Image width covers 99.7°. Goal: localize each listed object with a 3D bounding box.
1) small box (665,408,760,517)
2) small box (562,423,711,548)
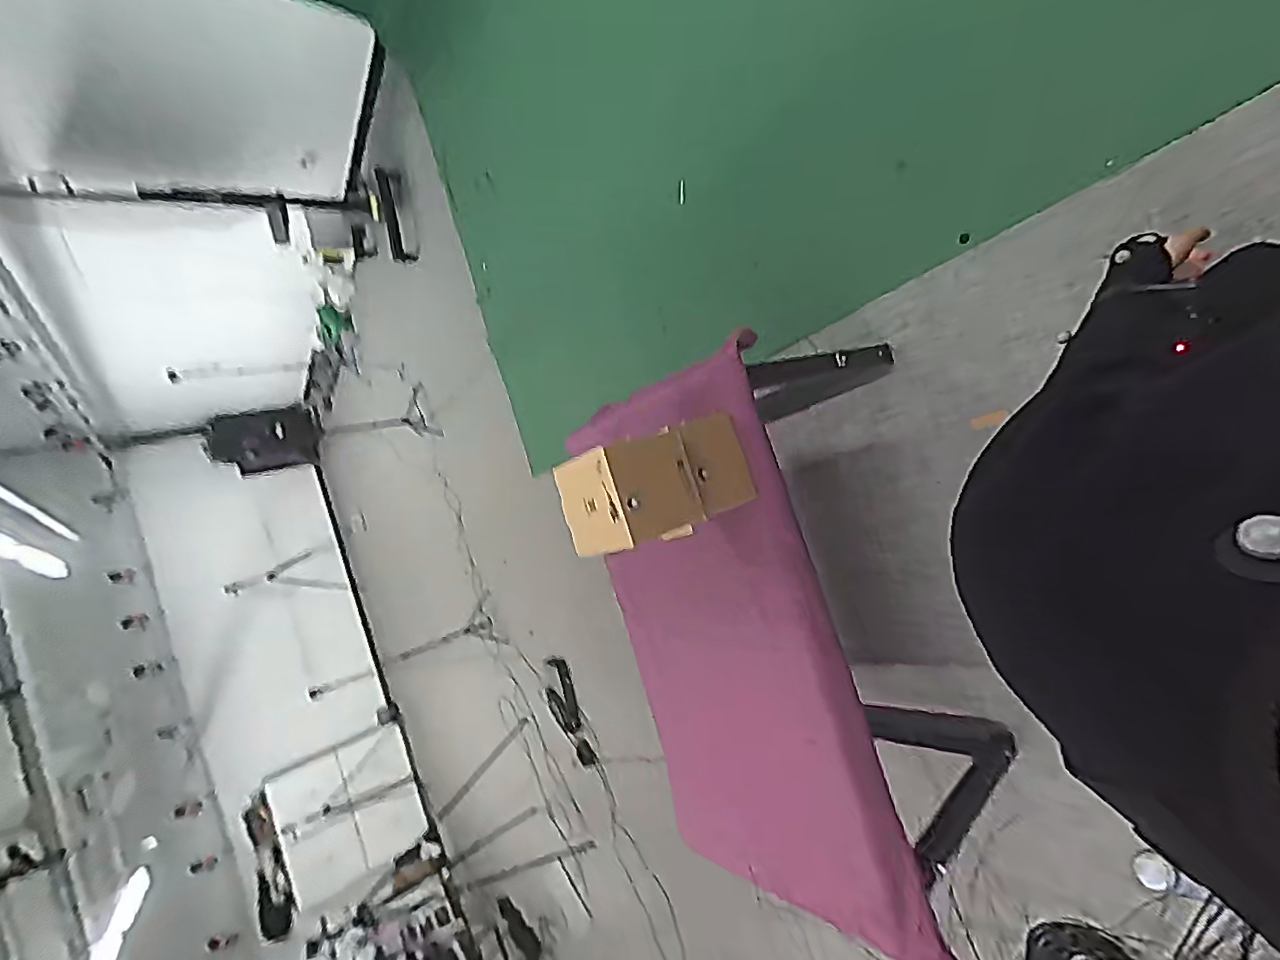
[{"bbox_3d":[0.107,-0.026,1.066,0.168,0.176,0.179,-24,85,52],"label":"small box"},{"bbox_3d":[-0.007,0.011,0.952,0.179,0.176,0.168,-20,89,53],"label":"small box"}]
